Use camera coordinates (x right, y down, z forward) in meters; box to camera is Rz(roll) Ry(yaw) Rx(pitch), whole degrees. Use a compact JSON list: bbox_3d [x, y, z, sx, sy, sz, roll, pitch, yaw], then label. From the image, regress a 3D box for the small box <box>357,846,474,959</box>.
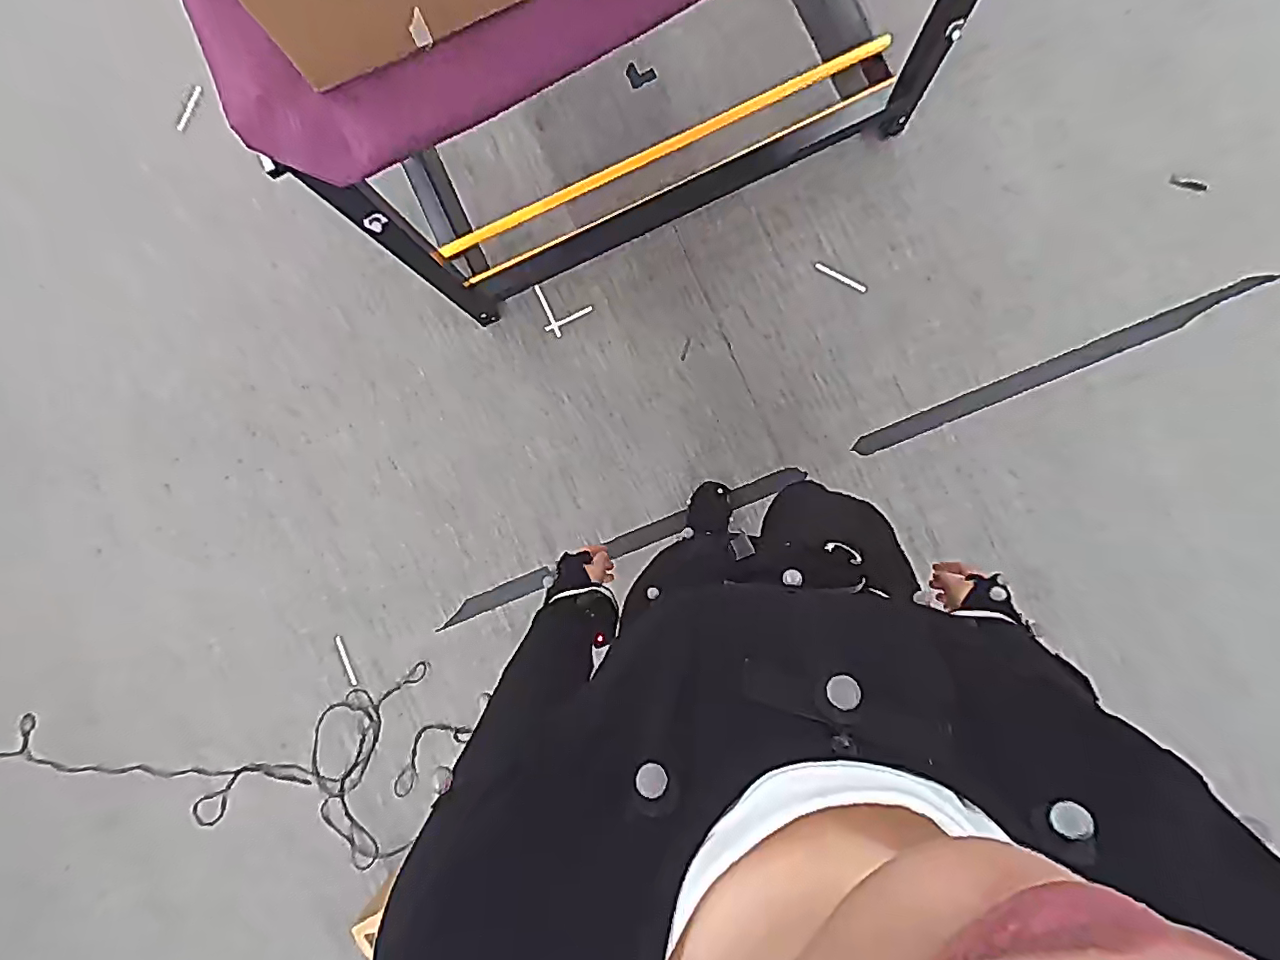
[{"bbox_3d":[-0.547,1.063,1.337,0.179,0.176,0.168,-30,87,3],"label":"small box"}]
